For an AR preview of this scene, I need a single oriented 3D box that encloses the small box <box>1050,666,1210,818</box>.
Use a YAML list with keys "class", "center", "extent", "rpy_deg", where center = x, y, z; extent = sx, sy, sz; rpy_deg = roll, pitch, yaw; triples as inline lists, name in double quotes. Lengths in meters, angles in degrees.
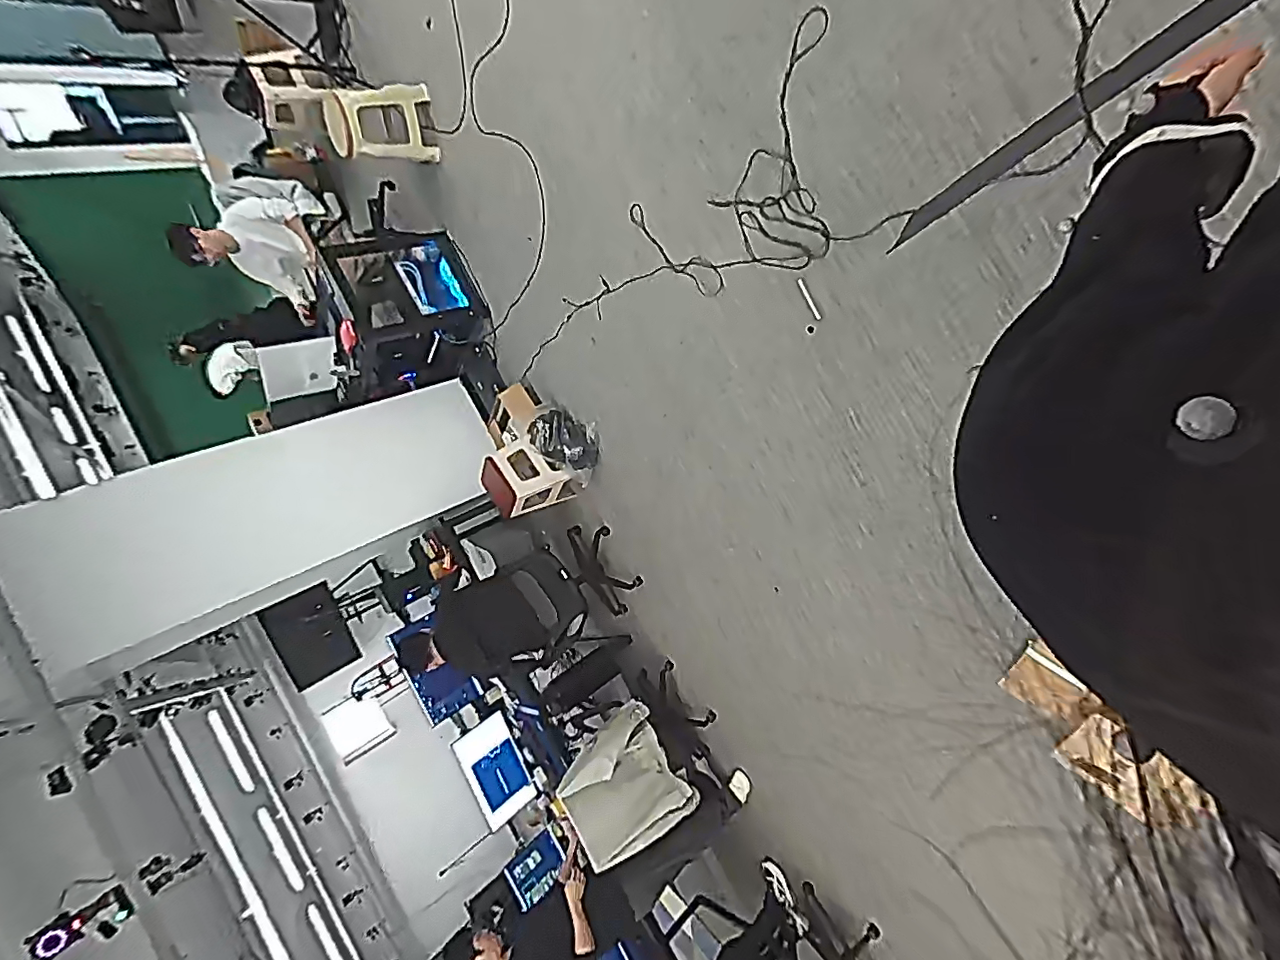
- class: "small box"
  center: [0.971, 0.512, 1.072]
  extent: [0.168, 0.176, 0.179]
  rpy_deg: [36, 137, 35]
